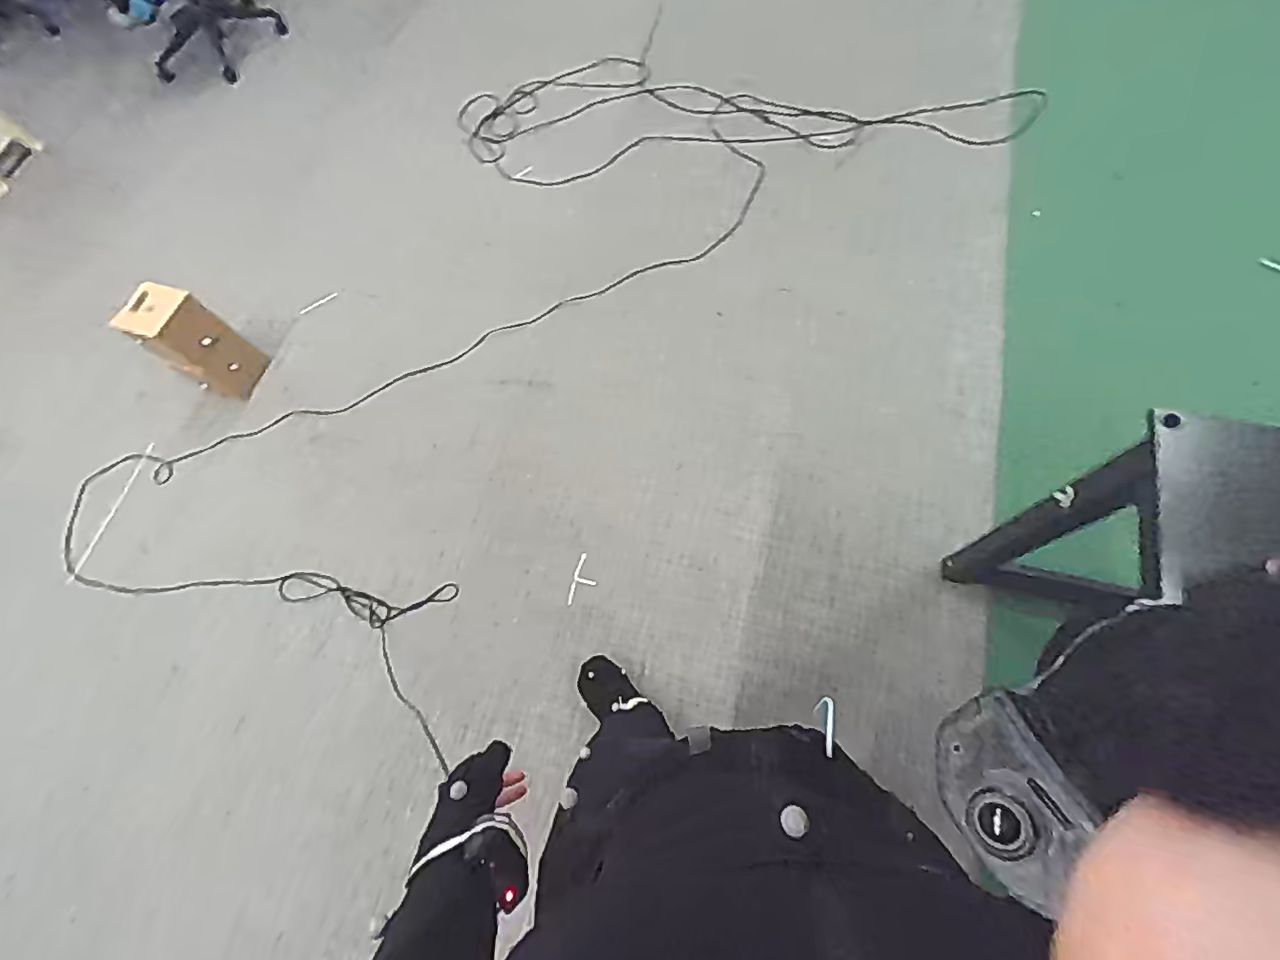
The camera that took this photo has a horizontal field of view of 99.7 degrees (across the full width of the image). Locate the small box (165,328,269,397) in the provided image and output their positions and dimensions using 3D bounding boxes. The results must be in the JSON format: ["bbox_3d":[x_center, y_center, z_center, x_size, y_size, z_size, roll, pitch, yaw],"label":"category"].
[{"bbox_3d":[-1.370,-0.395,1.765,0.168,0.176,0.179,15,71,12],"label":"small box"}]

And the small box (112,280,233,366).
[{"bbox_3d":[-1.387,-0.463,1.615,0.179,0.176,0.168,16,71,13],"label":"small box"}]
